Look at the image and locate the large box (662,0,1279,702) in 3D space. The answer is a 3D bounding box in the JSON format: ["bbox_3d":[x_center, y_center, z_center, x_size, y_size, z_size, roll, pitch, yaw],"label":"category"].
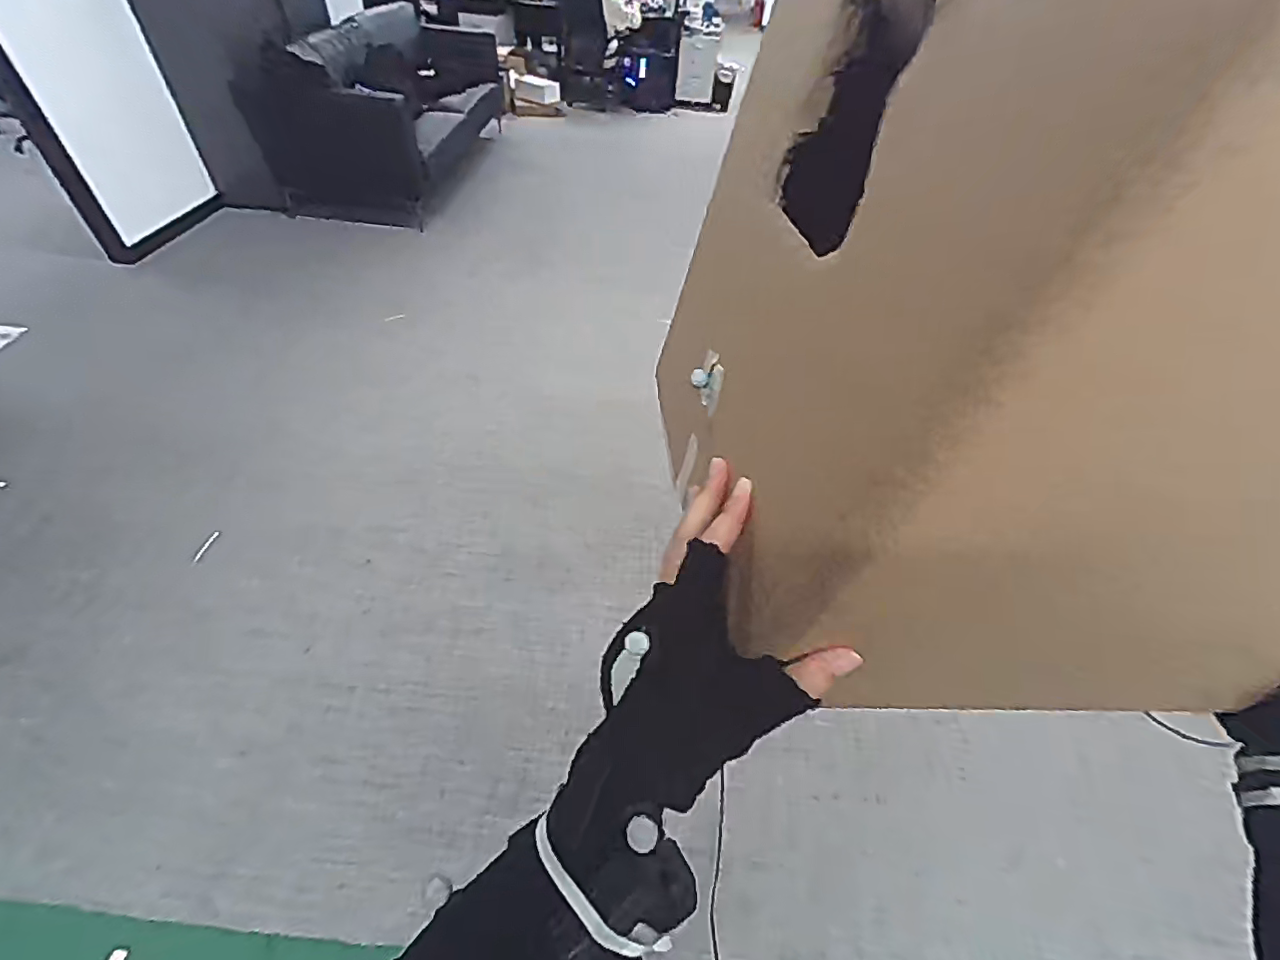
[{"bbox_3d":[0.264,-0.069,0.354,0.408,0.320,0.320,7,45,-15],"label":"large box"}]
